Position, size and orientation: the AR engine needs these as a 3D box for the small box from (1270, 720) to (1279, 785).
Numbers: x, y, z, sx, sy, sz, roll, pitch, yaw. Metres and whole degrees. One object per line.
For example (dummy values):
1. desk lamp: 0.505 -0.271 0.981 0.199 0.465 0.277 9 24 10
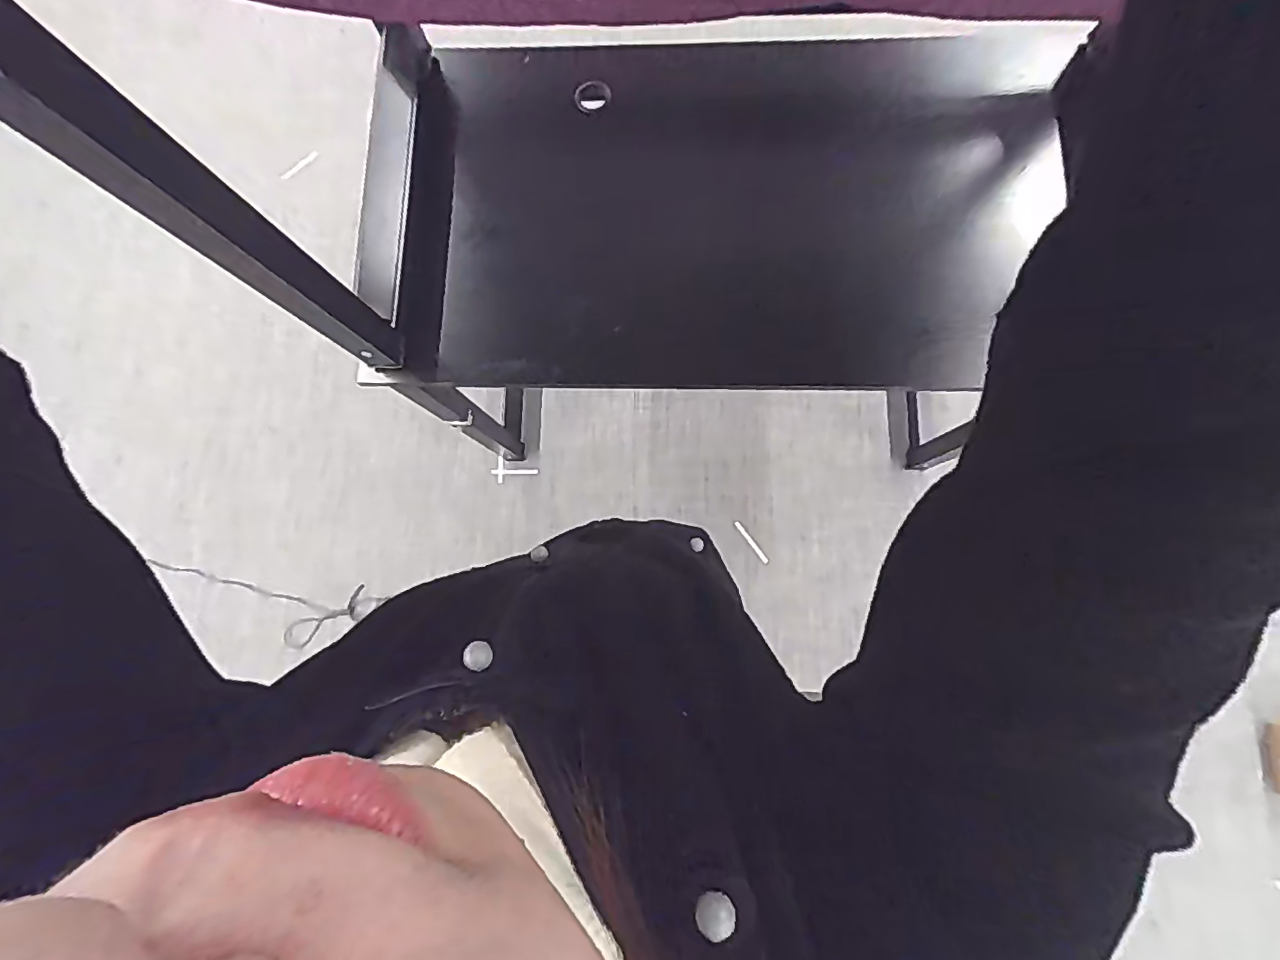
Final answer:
1. small box: 1.643 0.677 1.254 0.168 0.176 0.179 0 82 3
